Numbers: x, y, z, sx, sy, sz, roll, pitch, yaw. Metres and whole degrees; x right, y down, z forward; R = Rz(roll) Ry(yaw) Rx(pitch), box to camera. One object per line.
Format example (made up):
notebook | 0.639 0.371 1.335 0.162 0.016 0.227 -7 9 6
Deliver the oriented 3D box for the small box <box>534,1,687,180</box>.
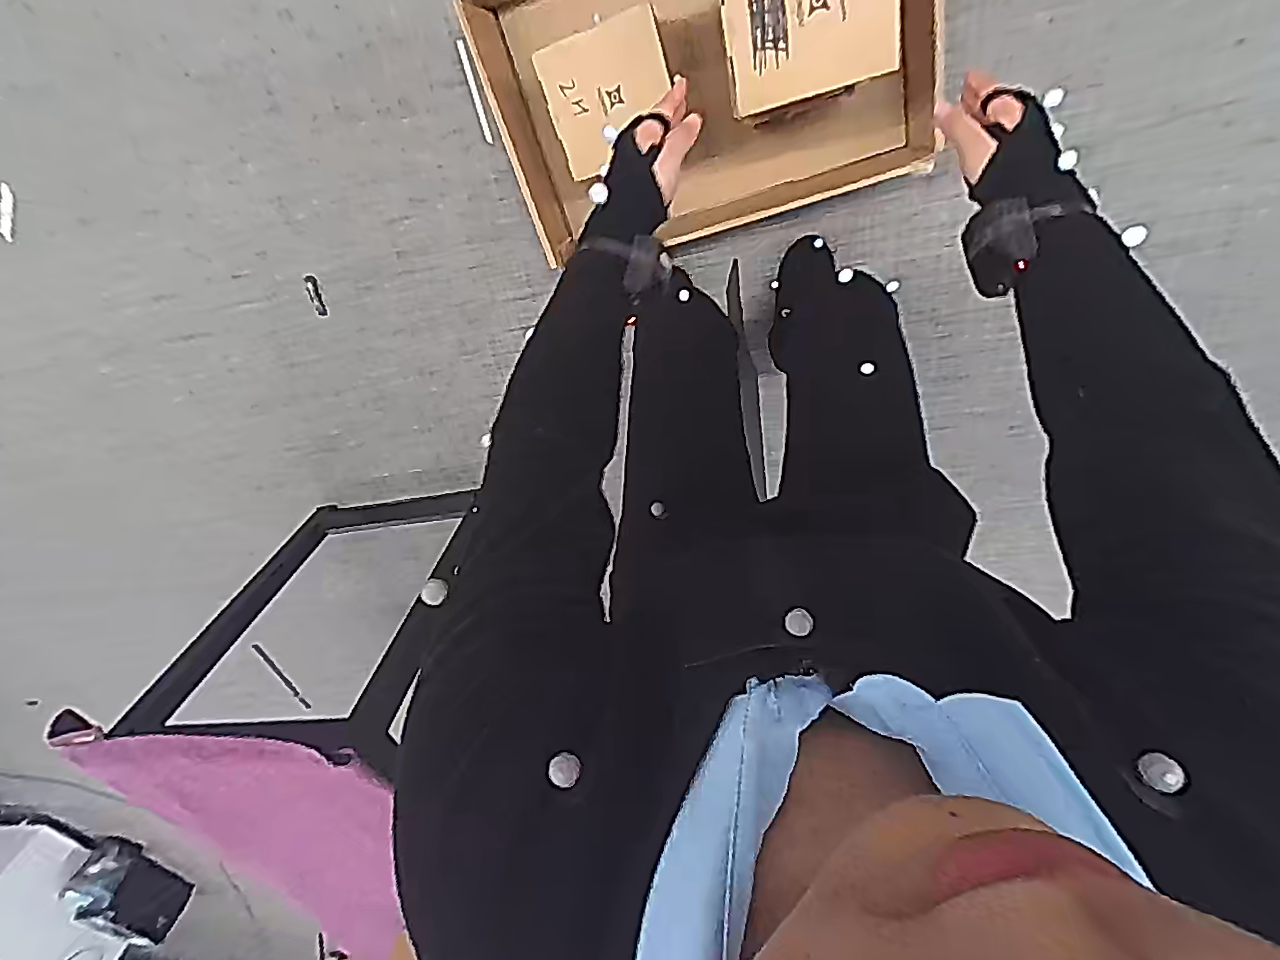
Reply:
small box | -0.033 -0.578 0.817 0.179 0.176 0.168 -13 121 14

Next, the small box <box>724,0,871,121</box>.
small box | 0.214 -0.628 0.756 0.168 0.176 0.179 -10 123 15
